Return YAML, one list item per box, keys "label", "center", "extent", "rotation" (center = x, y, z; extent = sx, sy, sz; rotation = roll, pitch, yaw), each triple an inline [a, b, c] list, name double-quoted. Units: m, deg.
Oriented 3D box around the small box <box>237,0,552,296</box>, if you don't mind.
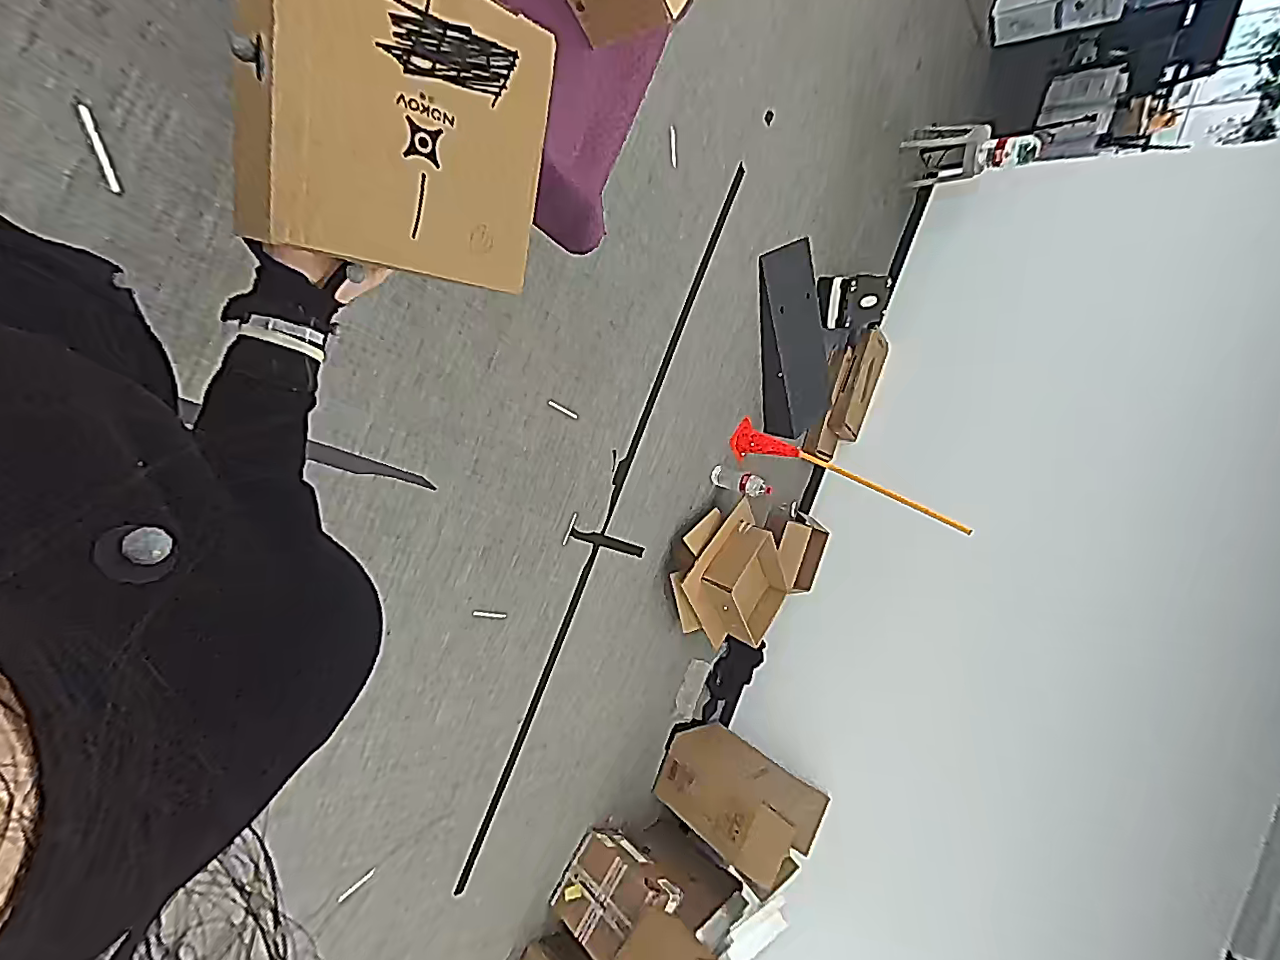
- label: "small box"
  center: [-0.190, -0.250, 0.404]
  extent: [0.168, 0.176, 0.179]
  rotation: [-3, 112, -43]
